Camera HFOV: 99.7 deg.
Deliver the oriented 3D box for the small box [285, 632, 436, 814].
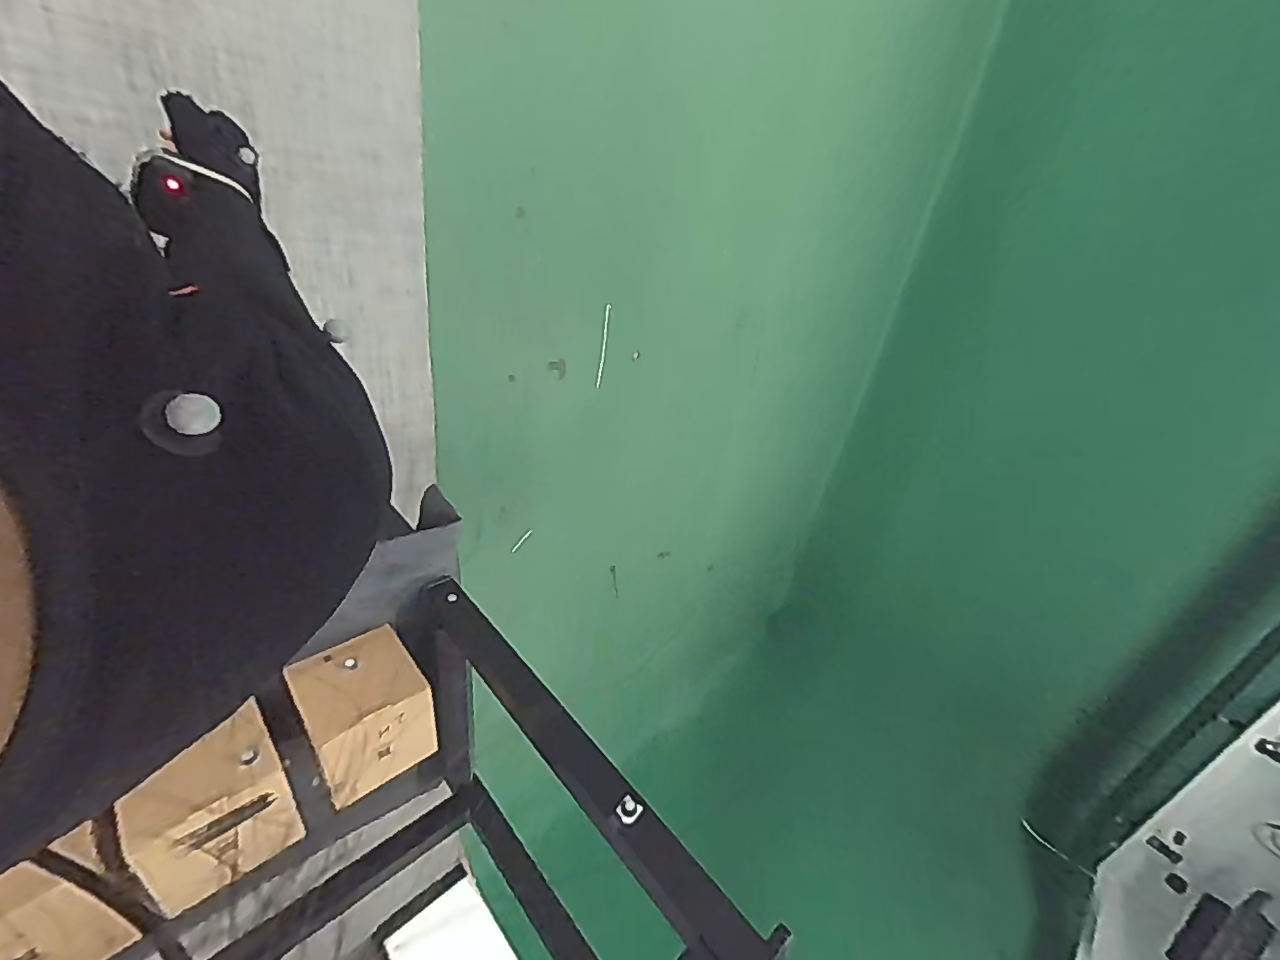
[{"bbox_3d":[-0.458,0.391,0.895,0.168,0.176,0.179,-22,132,-40],"label":"small box"}]
